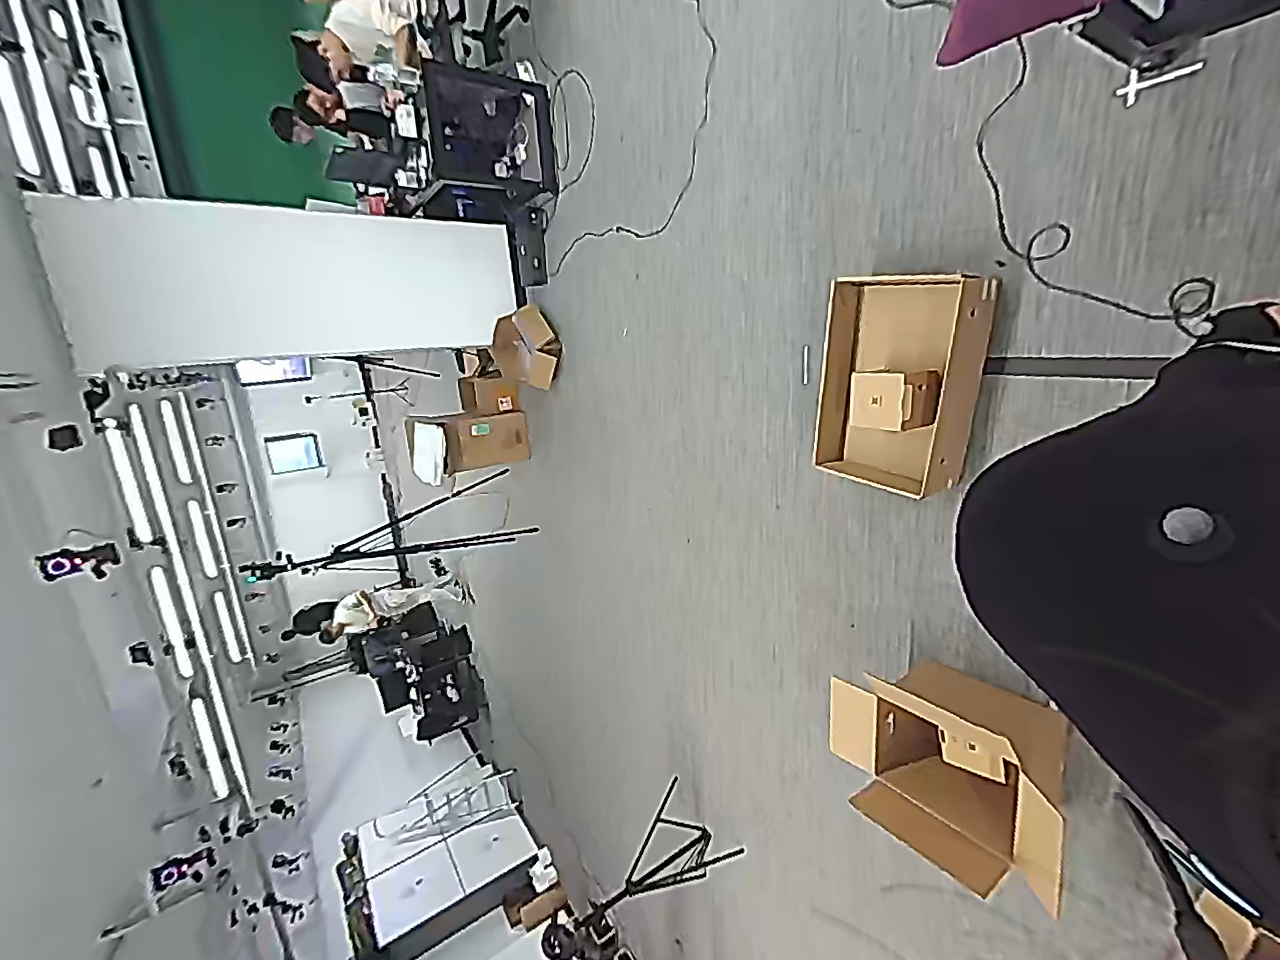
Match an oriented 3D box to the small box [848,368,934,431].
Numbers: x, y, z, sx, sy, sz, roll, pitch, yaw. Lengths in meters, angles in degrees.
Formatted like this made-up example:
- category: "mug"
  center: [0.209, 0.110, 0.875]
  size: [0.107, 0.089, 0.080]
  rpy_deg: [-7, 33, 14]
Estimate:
- category: "small box"
  center: [0.756, -0.249, 1.627]
  size: [0.179, 0.176, 0.168]
  rpy_deg: [18, 114, 54]
